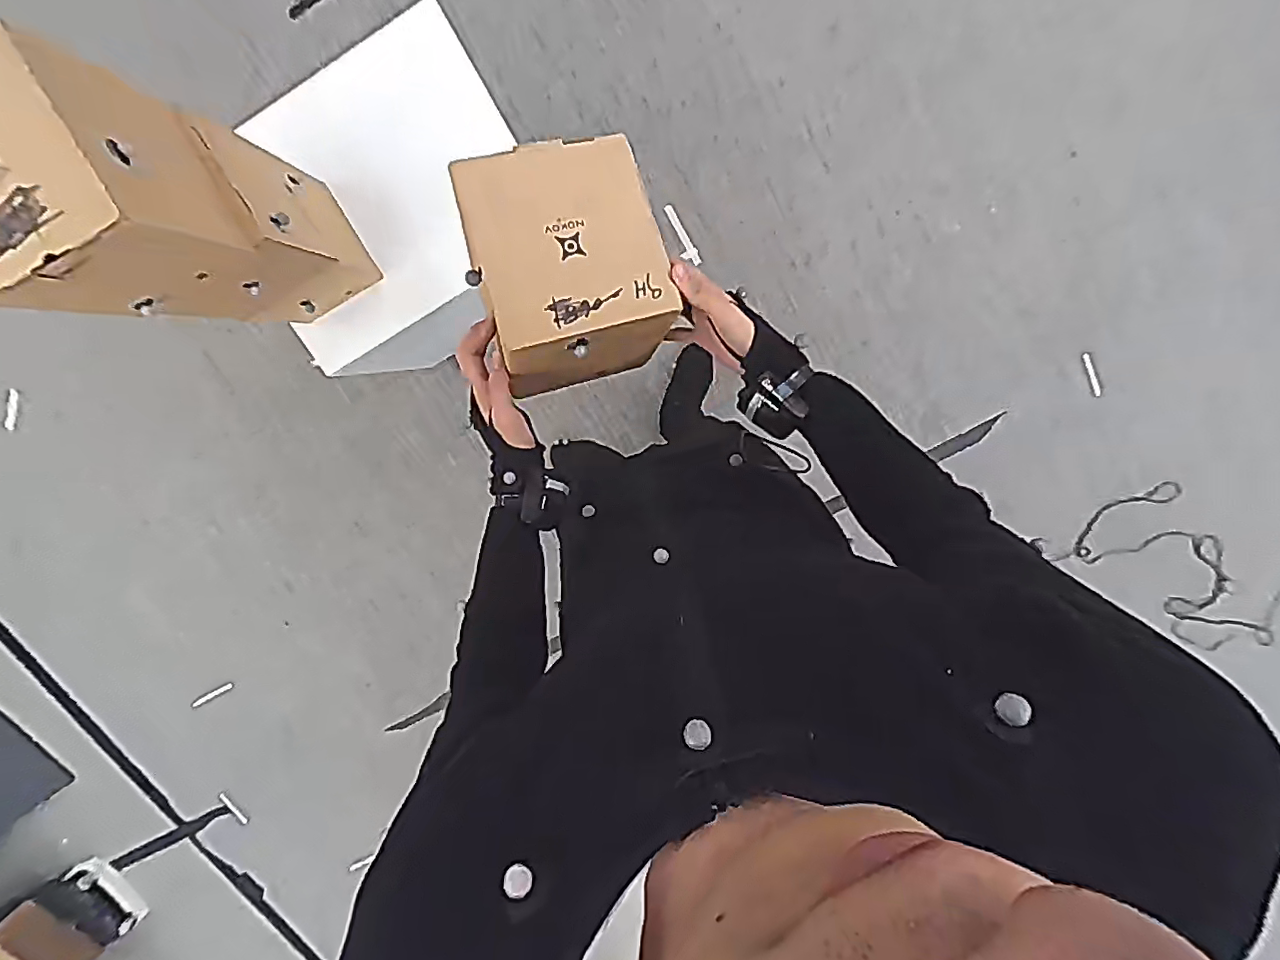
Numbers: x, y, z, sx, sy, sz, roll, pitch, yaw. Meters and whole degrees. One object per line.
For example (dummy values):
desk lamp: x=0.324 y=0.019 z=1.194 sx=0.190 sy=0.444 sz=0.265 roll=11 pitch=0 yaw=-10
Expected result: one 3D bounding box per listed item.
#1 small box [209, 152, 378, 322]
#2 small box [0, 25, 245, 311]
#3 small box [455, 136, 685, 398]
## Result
small box: x=-0.555 y=-0.365 z=0.852 sx=0.168 sy=0.176 sz=0.179 roll=-29 pitch=102 yaw=5
small box: x=-0.552 y=-0.280 z=0.534 sx=0.168 sy=0.176 sz=0.179 roll=-25 pitch=102 yaw=5
small box: x=-0.076 y=-0.204 z=0.552 sx=0.168 sy=0.176 sz=0.179 roll=-18 pitch=88 yaw=-13
